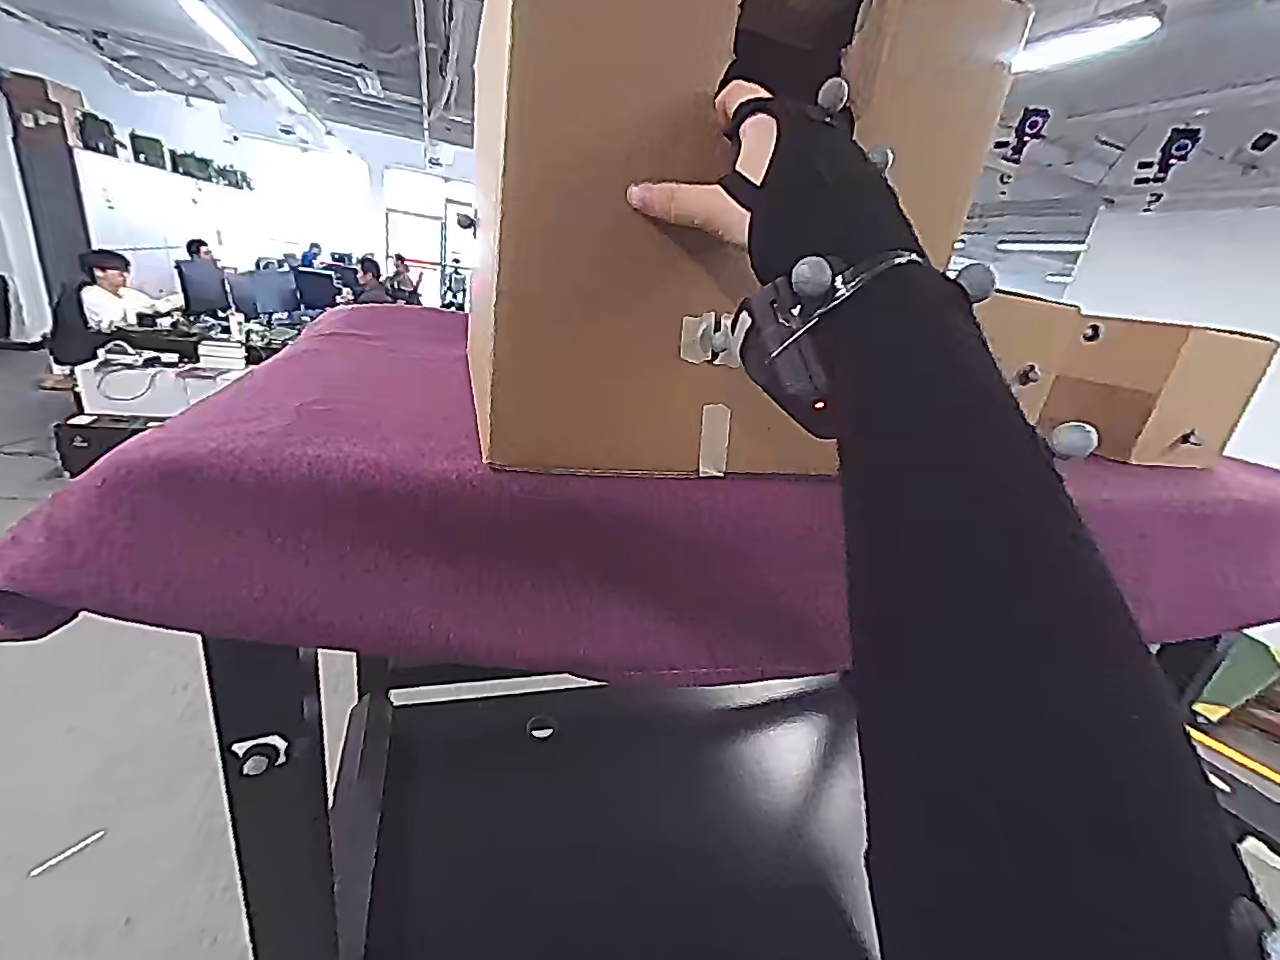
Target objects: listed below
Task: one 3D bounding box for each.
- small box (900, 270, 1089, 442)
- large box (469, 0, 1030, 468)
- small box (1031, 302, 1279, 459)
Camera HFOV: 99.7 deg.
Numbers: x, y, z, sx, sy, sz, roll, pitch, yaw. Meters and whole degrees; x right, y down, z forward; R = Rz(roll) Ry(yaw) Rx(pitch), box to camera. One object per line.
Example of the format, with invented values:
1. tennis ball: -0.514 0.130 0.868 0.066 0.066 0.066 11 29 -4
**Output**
1. small box: 0.354 -0.147 0.633 0.179 0.176 0.168 2 21 -18
2. large box: 0.015 -0.220 0.494 0.320 0.320 0.408 2 21 -20
3. small box: 0.660 -0.132 0.712 0.179 0.176 0.168 2 21 -18
